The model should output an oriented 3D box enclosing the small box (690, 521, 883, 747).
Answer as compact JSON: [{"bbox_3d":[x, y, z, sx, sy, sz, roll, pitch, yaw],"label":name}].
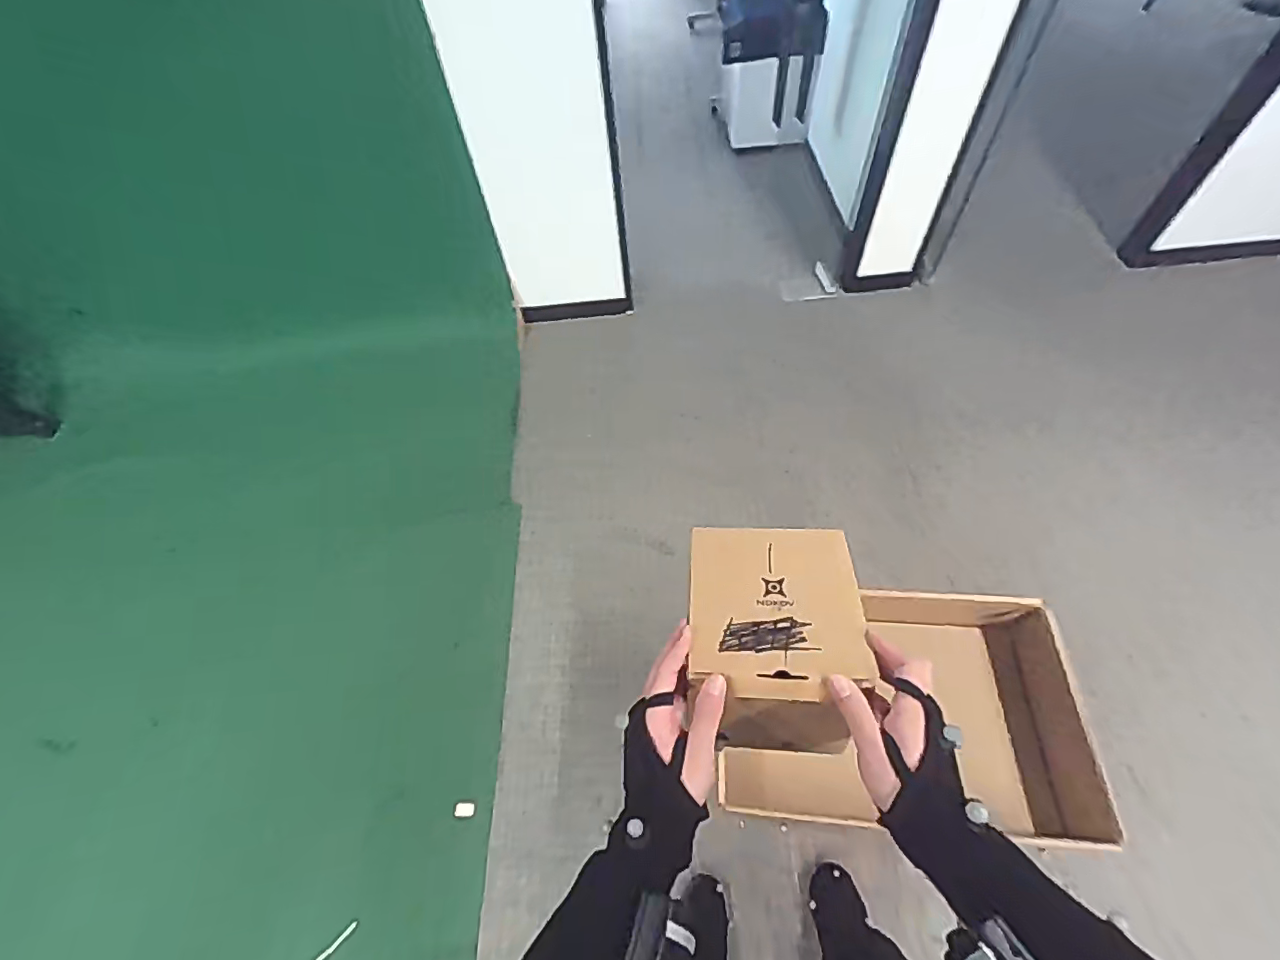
[{"bbox_3d":[0.139,0.164,0.576,0.168,0.176,0.179,1,45,6],"label":"small box"}]
